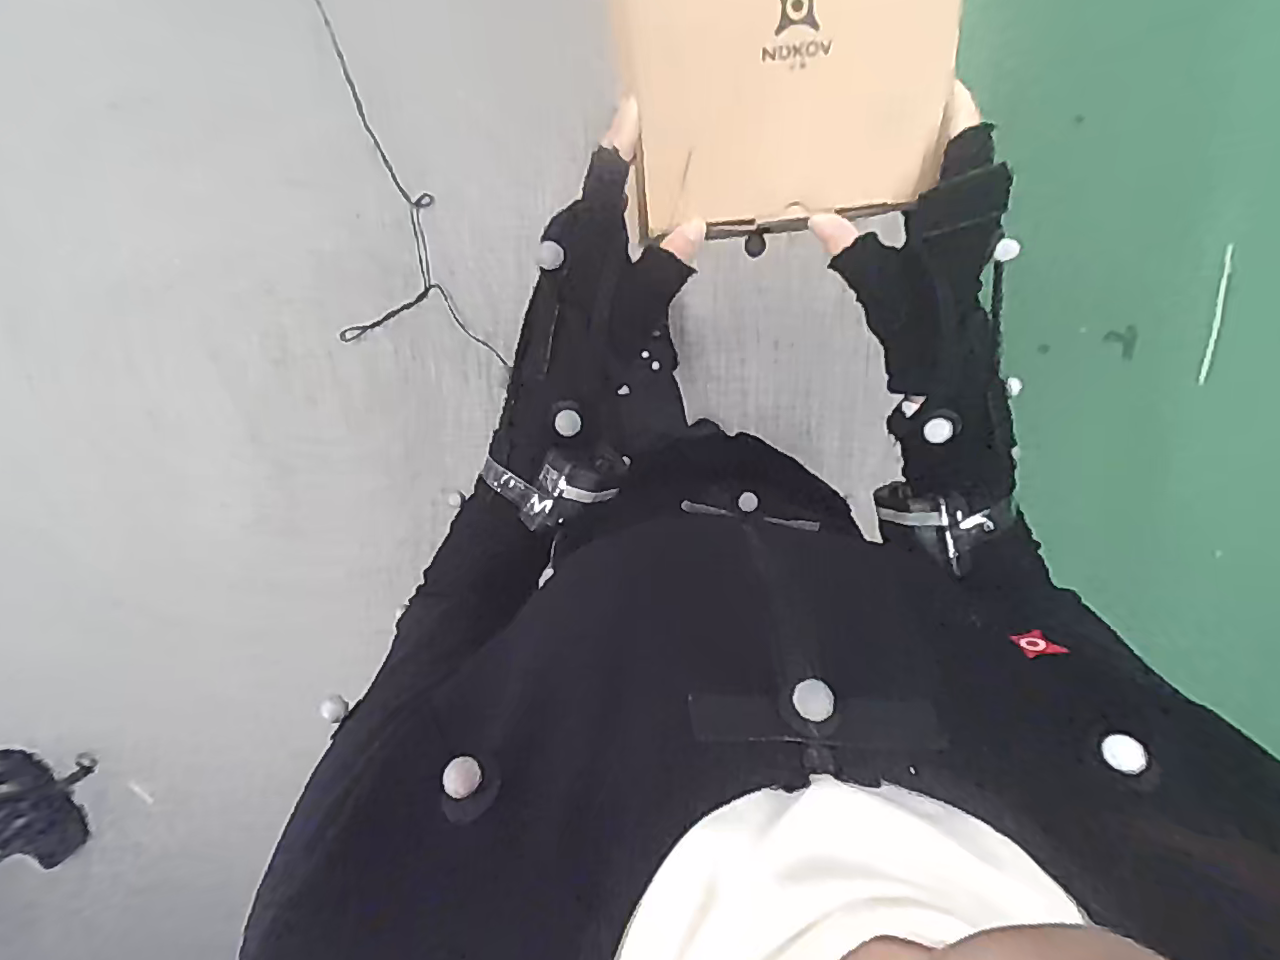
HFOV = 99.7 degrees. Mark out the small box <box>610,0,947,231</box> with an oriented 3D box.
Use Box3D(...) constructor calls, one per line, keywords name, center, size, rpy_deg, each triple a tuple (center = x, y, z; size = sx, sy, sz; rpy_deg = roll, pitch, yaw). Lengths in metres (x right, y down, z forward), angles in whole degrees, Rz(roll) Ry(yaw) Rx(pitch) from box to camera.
Box3D(name="small box", center=(0.069, -0.262, 0.345), size=(0.168, 0.176, 0.179), rpy_deg=(-7, 113, 1))
